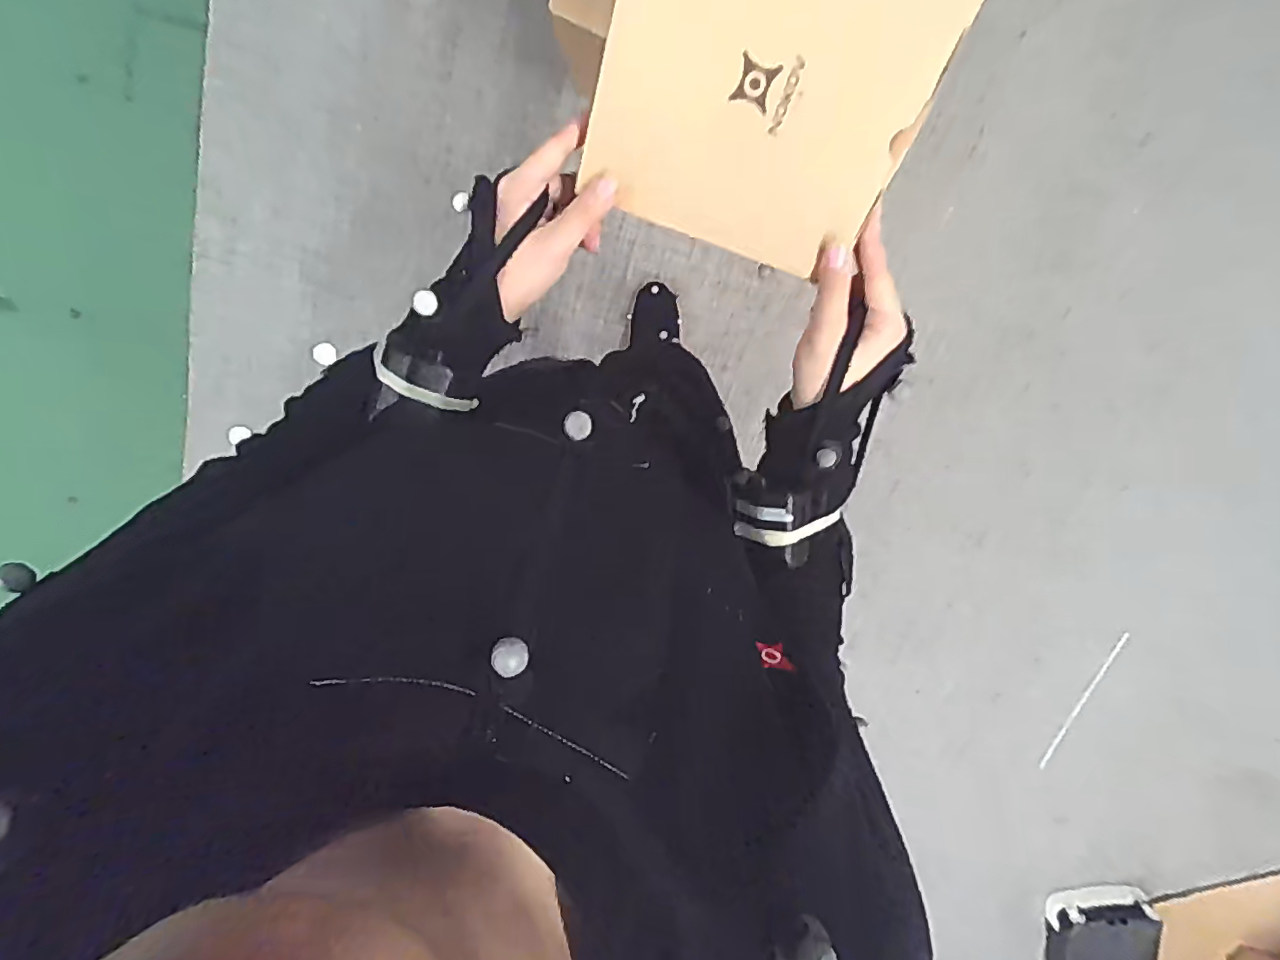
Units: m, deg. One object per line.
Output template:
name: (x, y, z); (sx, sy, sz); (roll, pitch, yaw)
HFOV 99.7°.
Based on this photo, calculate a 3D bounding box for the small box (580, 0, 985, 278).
small box: (0.077, -0.259, 0.354); (0.179, 0.176, 0.168); (17, 126, -5)

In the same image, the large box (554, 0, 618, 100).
large box: (0.101, -0.831, 0.958); (0.408, 0.320, 0.320); (21, 107, -6)
